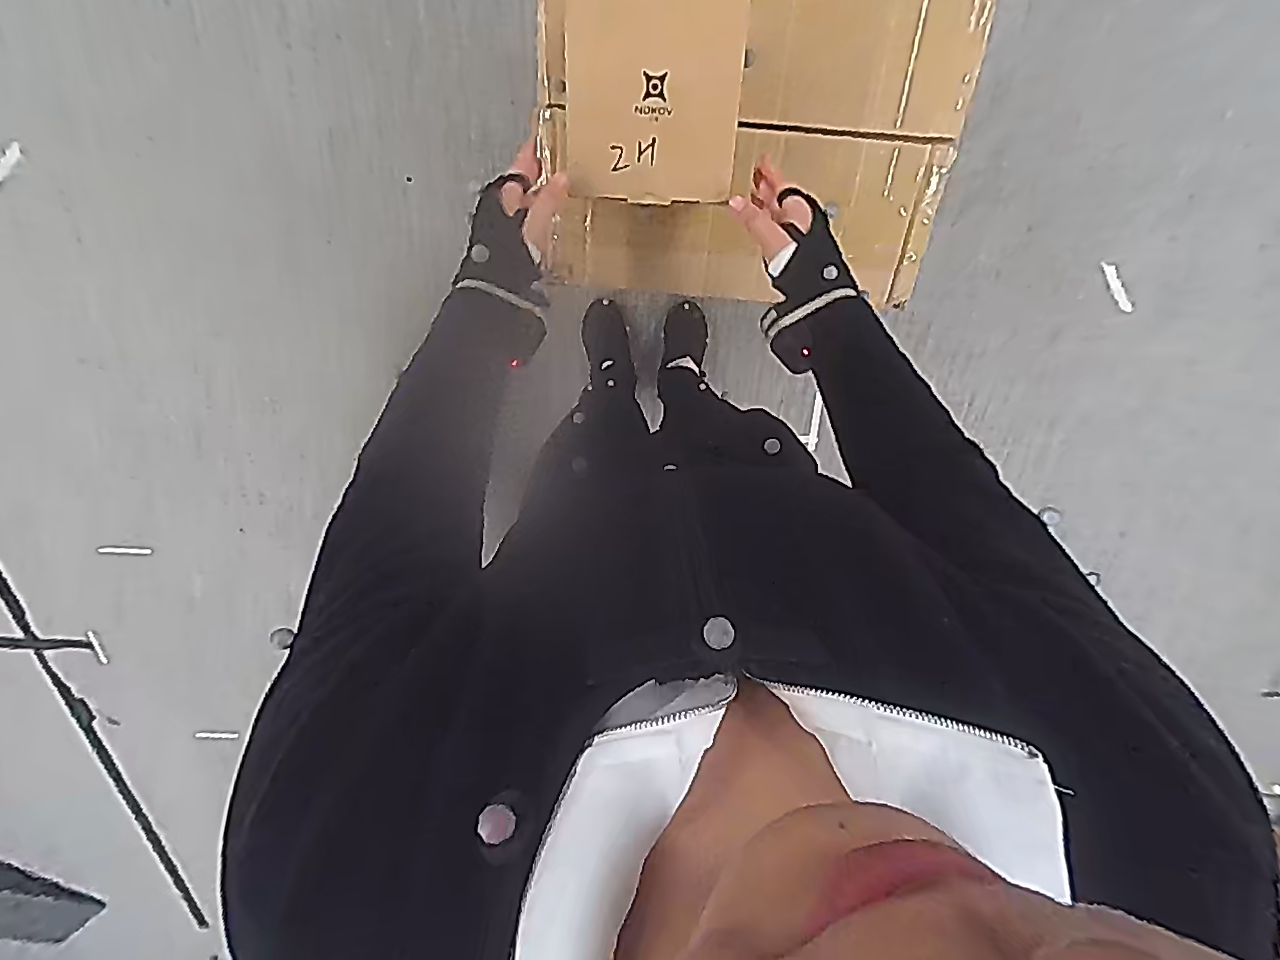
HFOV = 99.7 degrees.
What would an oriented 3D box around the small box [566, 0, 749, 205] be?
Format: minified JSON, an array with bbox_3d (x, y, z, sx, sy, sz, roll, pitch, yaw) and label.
[{"bbox_3d":[0.009,-0.398,0.580,0.168,0.176,0.179,1,117,-3],"label":"small box"}]
